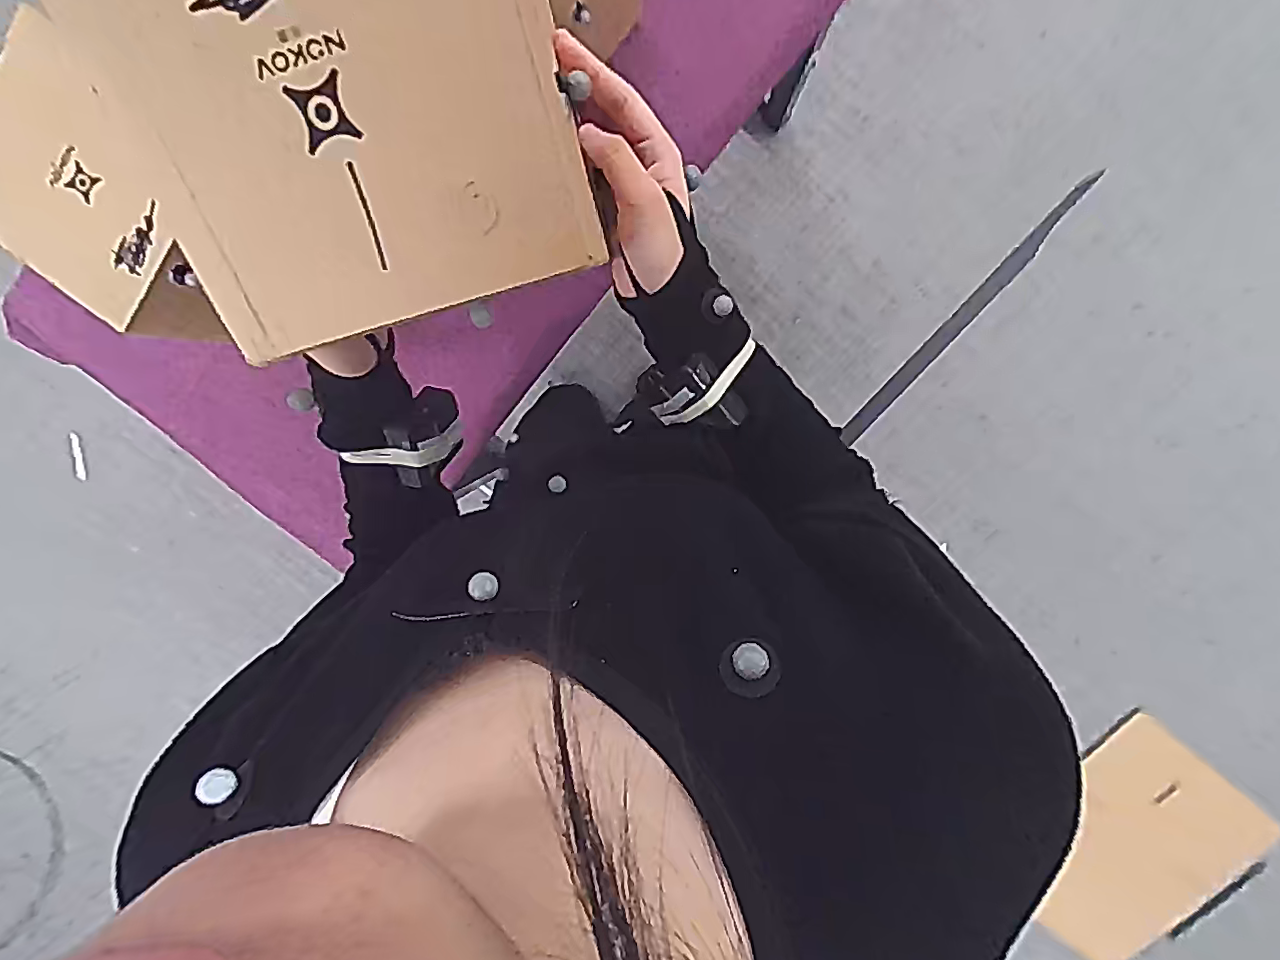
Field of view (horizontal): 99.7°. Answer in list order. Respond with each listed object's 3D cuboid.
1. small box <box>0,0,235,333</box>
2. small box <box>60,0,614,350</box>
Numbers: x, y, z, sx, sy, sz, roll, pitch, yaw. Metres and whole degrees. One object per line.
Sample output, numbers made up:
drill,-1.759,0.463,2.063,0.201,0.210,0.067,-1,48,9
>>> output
small box,-0.419,-0.247,0.486,0.179,0.176,0.168,38,100,-3
small box,-0.115,-0.182,0.273,0.168,0.176,0.179,-13,113,6
